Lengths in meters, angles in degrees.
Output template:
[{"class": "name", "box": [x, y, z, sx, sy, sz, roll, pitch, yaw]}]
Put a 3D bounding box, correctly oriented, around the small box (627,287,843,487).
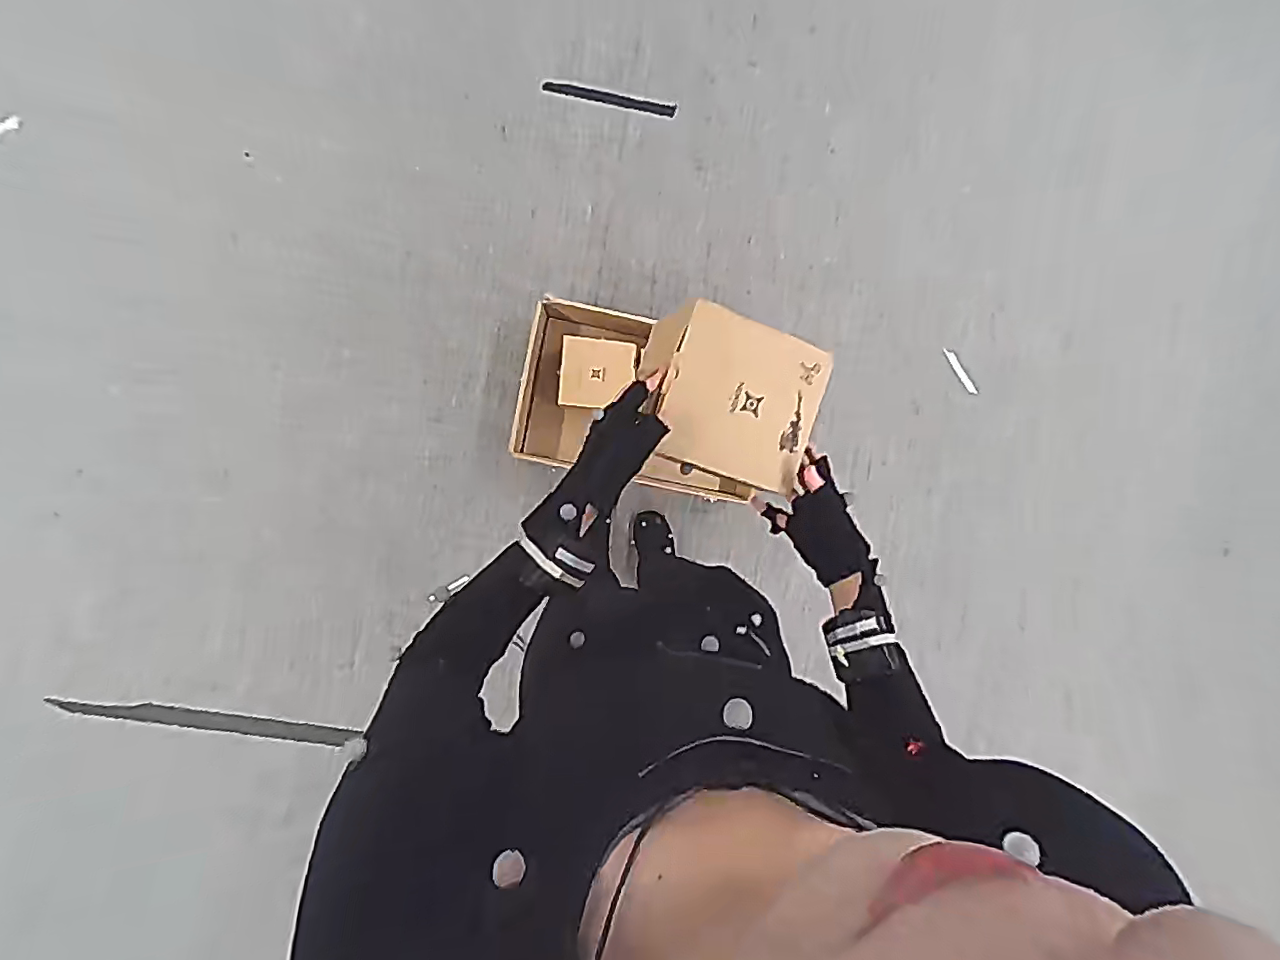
[{"class": "small box", "box": [0.097, -0.100, 0.641, 0.179, 0.176, 0.168, 18, 92, -14]}]
